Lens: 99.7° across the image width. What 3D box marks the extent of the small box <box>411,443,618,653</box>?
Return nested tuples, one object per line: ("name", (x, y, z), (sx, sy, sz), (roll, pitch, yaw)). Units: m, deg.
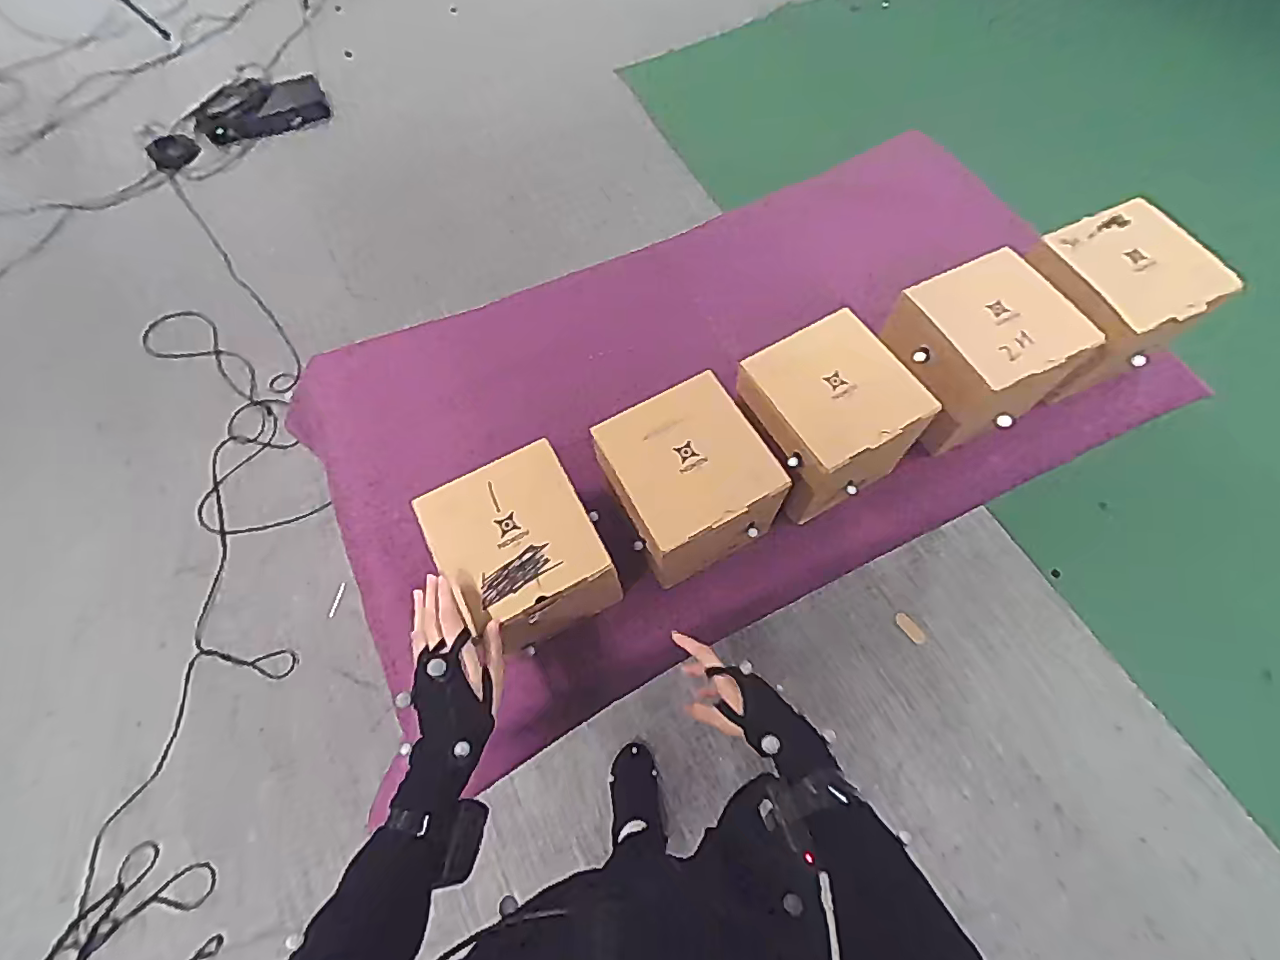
("small box", (-0.138, 0.092, 0.648), (0.168, 0.176, 0.179), (-27, 67, -9))
